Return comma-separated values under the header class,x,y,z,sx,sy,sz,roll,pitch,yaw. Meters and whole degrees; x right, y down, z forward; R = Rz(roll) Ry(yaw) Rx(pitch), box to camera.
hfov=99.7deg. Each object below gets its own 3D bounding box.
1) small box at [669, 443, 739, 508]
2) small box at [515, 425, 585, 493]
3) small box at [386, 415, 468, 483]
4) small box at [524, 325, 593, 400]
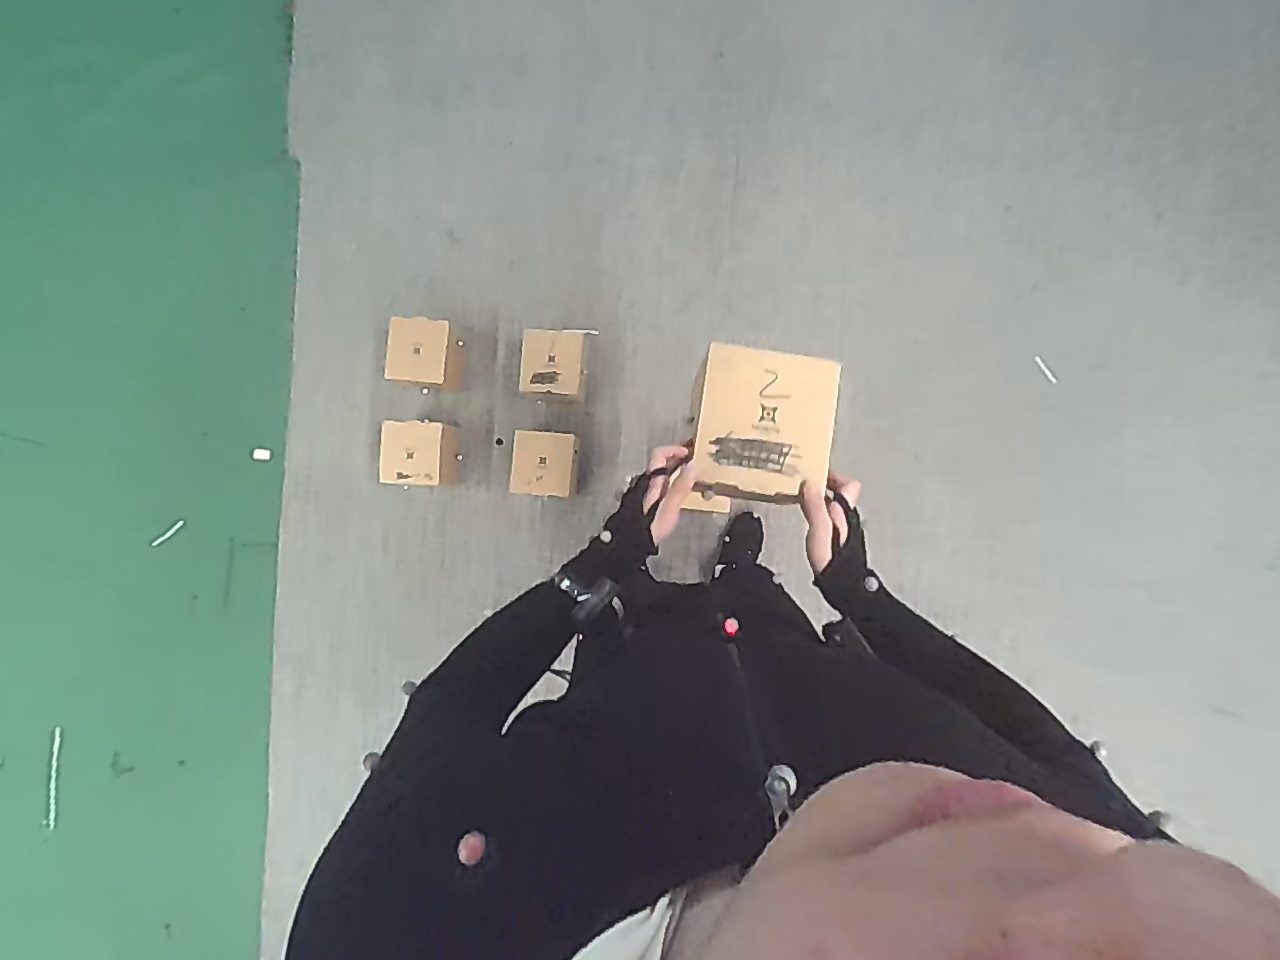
class,x,y,z,sx,sy,sz,roll,pitch,yaw
small box,0.179,-0.010,1.555,0.179,0.176,0.168,5,90,0
small box,-0.253,-0.057,1.561,0.168,0.176,0.179,5,90,1
small box,-0.610,-0.086,1.568,0.168,0.176,0.179,3,89,2
small box,-0.229,-0.333,1.562,0.168,0.176,0.179,5,89,1
